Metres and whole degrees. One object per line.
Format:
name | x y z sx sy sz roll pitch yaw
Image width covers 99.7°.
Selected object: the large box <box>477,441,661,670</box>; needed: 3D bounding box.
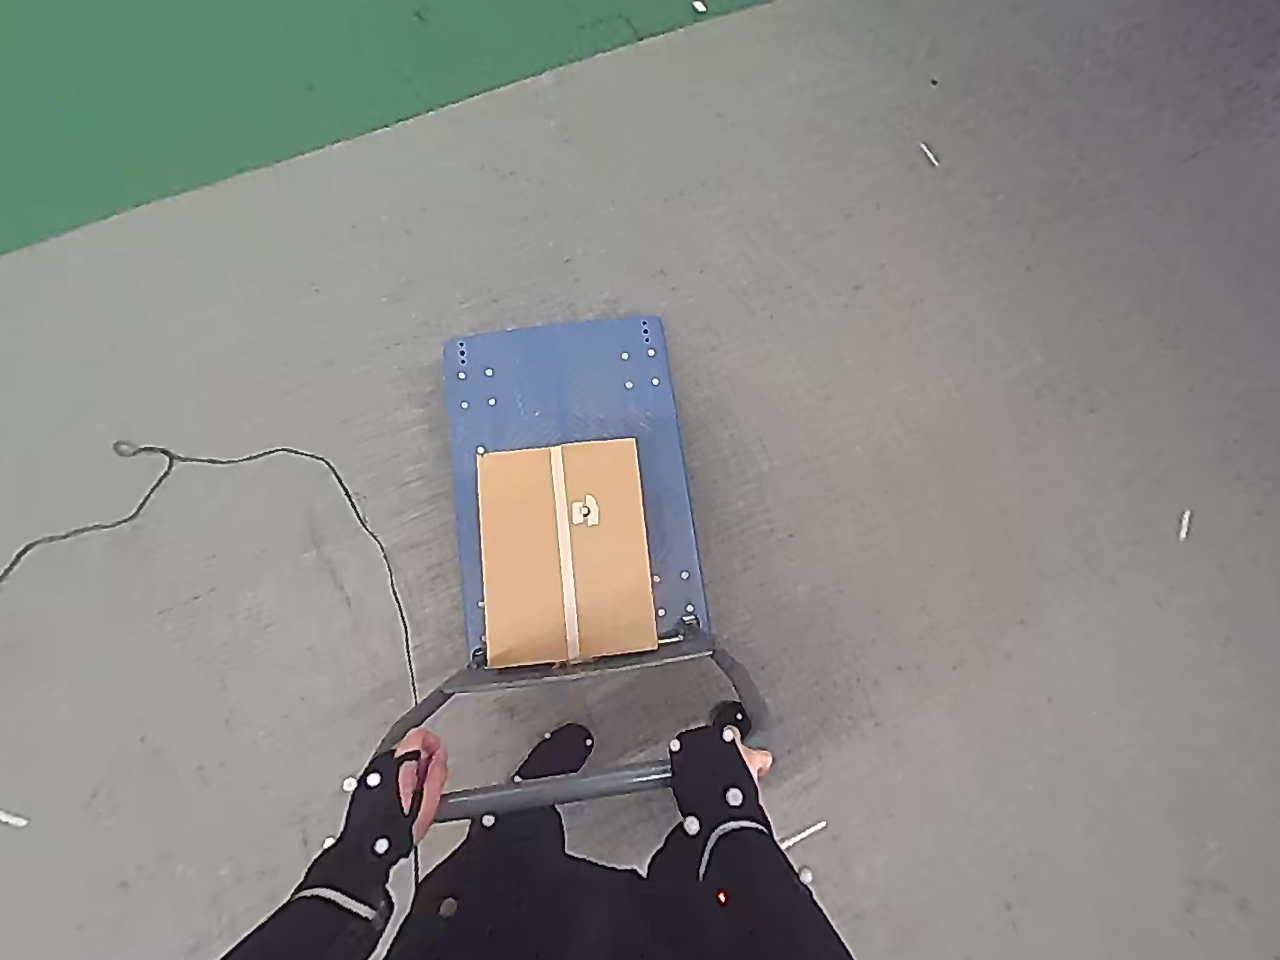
large box | -0.141 0.165 1.166 0.320 0.320 0.408 -7 78 -3
